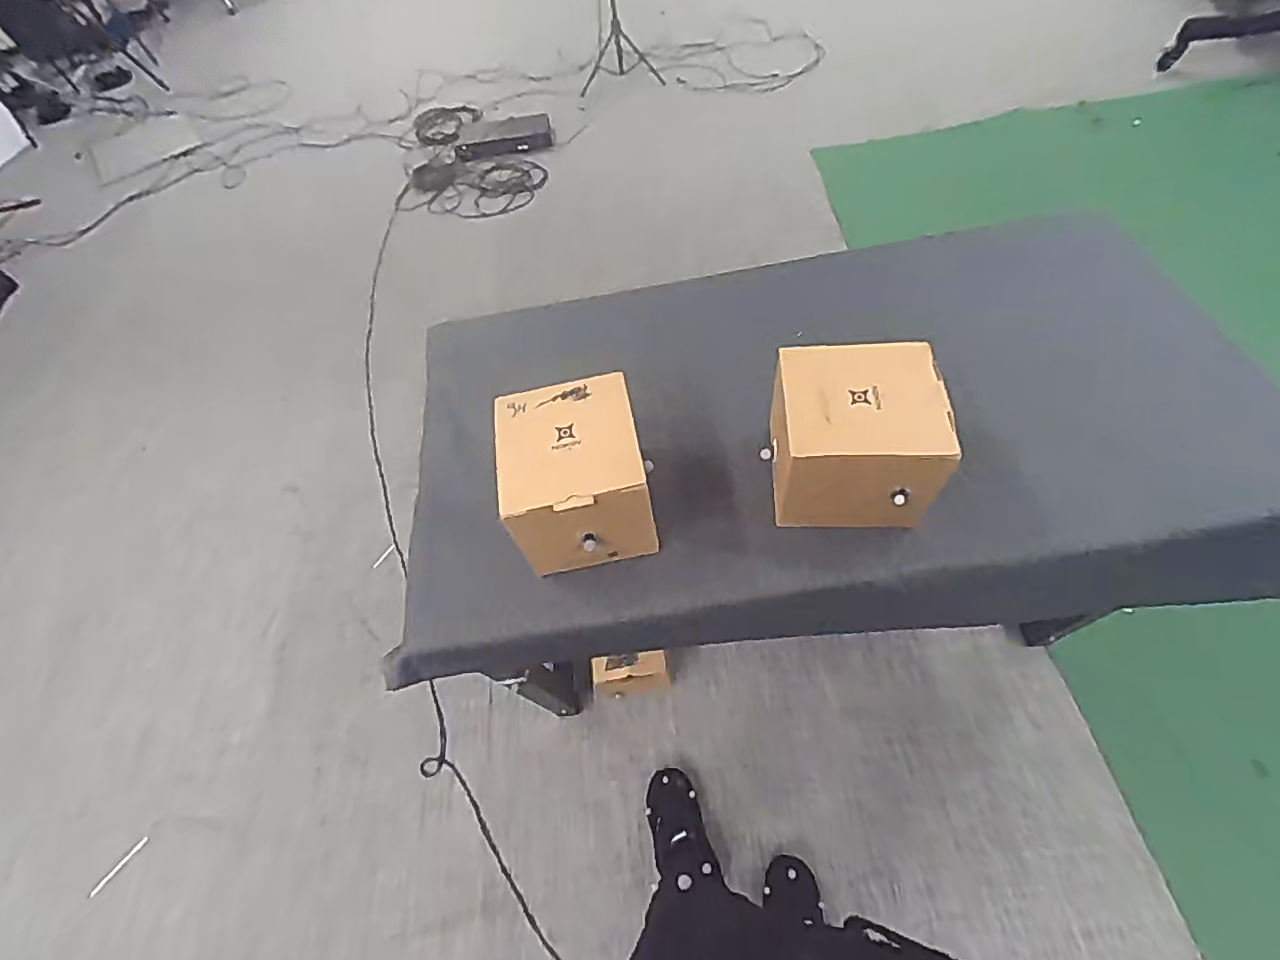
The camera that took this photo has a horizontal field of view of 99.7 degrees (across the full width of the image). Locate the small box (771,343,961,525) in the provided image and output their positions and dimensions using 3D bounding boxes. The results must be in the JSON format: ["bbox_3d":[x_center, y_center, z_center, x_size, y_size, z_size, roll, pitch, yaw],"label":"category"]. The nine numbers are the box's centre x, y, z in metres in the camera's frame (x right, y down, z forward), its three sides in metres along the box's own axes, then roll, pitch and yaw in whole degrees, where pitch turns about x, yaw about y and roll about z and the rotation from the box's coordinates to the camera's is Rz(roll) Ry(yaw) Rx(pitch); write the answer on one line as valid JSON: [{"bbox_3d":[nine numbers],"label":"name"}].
[{"bbox_3d":[0.265,-0.052,0.683,0.179,0.176,0.168,-1,59,8],"label":"small box"}]

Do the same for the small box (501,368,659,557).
[{"bbox_3d":[-0.073,-0.012,0.701,0.168,0.176,0.179,-11,59,0],"label":"small box"}]
